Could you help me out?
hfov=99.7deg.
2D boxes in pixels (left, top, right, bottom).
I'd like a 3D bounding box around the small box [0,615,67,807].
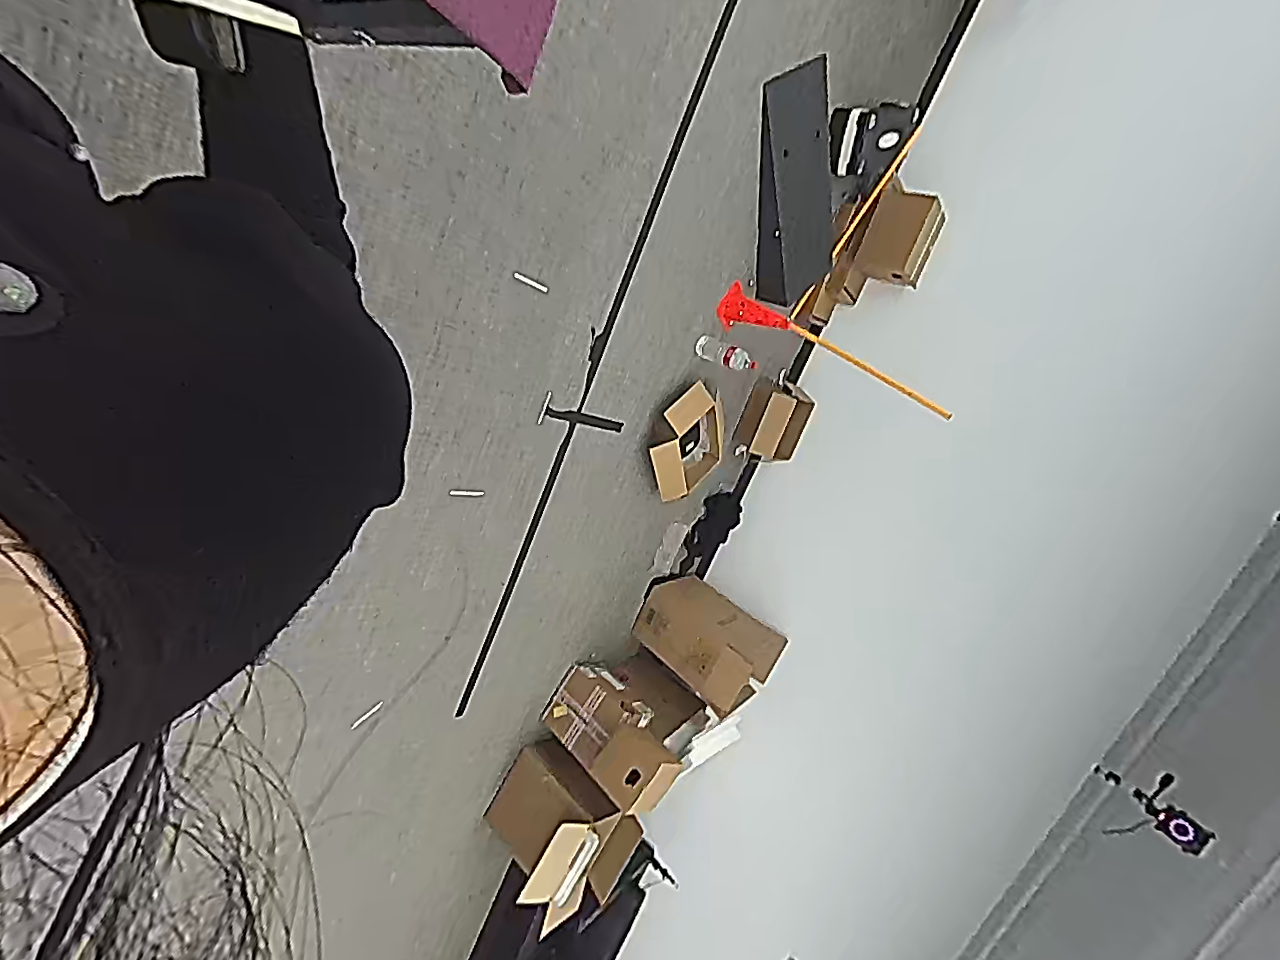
[{"bbox_3d":[-0.848,0.294,0.665,0.168,0.176,0.179,6,113,-56],"label":"small box"}]
